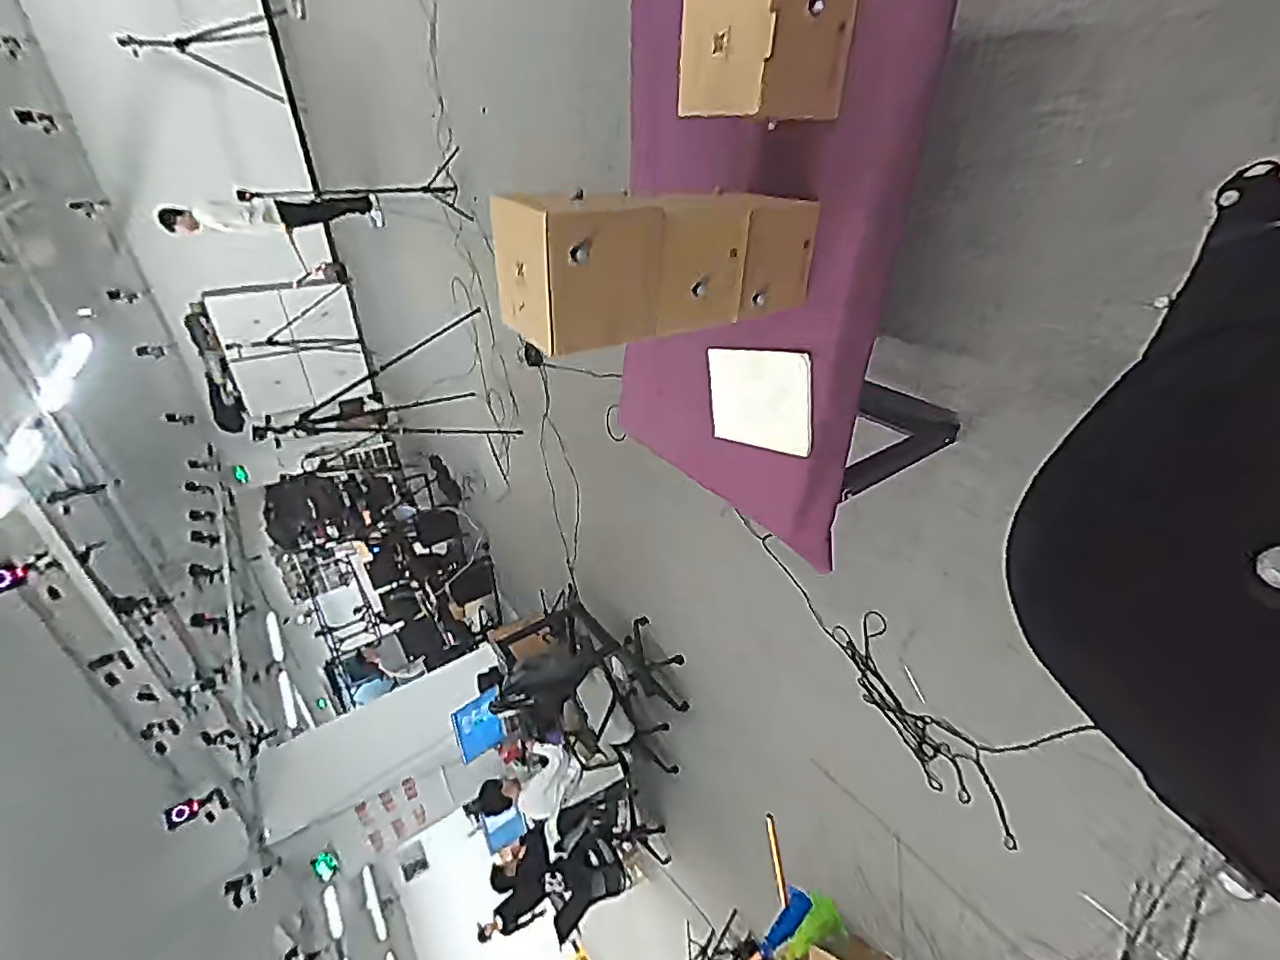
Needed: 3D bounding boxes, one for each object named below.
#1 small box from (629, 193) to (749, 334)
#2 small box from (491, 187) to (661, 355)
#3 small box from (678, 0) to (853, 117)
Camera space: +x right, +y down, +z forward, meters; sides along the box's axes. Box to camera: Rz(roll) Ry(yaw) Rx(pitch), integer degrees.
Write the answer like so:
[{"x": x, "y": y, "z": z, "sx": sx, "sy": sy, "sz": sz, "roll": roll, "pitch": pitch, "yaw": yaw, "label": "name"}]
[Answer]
[{"x": 0.046, "y": -0.342, "z": 0.834, "sx": 0.179, "sy": 0.176, "sz": 0.168, "roll": 38, "pitch": 138, "yaw": 43, "label": "small box"}, {"x": -0.085, "y": -0.296, "z": 0.744, "sx": 0.168, "sy": 0.176, "sz": 0.179, "roll": 41, "pitch": 140, "yaw": 42, "label": "small box"}, {"x": 0.177, "y": -0.624, "z": 0.775, "sx": 0.179, "sy": 0.176, "sz": 0.168, "roll": 38, "pitch": 137, "yaw": 43, "label": "small box"}]
